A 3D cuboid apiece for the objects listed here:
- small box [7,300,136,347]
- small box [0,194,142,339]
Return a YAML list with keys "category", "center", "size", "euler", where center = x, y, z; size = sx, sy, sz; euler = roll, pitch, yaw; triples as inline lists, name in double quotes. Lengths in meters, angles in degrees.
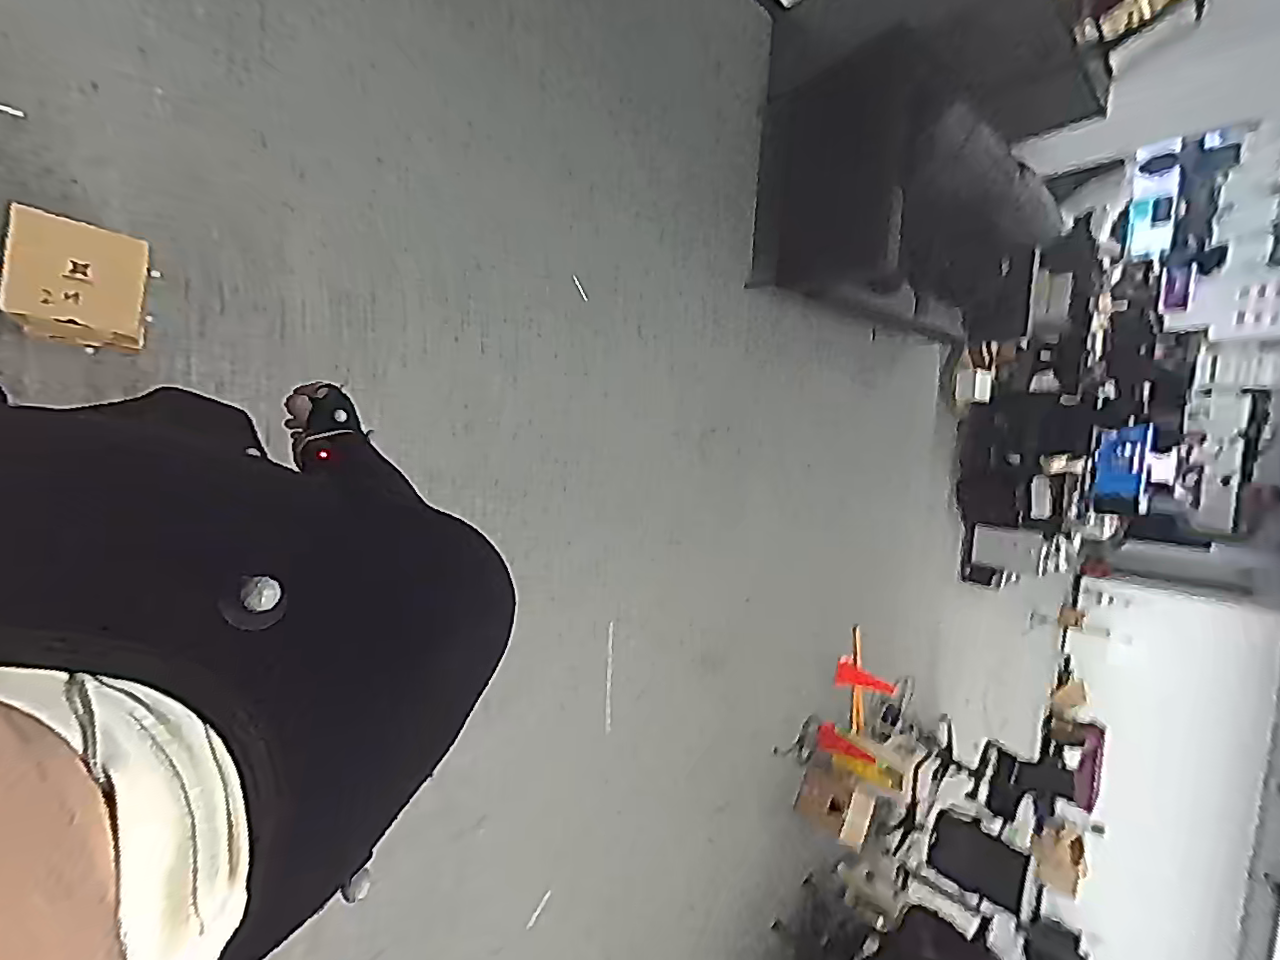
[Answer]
- category: "small box"
  center: [-1.121, -0.368, 1.077]
  size: [0.168, 0.176, 0.179]
  euler: [2, 95, -44]
- category: "small box"
  center: [-1.007, -0.362, 0.957]
  size: [0.168, 0.176, 0.179]
  euler: [8, 90, -43]
